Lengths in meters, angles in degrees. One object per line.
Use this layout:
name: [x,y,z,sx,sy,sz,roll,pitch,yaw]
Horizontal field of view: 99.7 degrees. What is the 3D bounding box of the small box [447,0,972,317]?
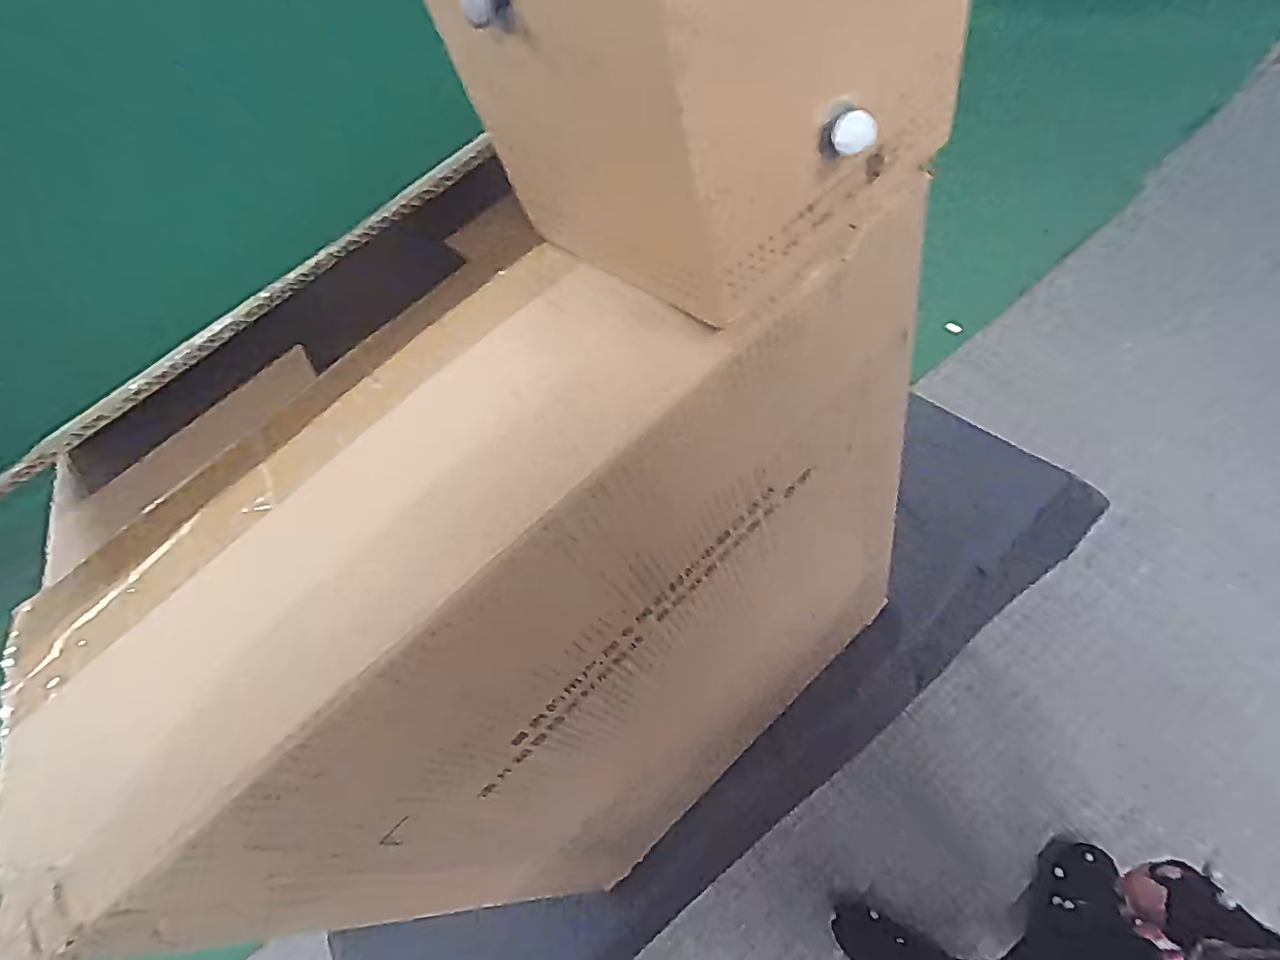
small box: [0.027,-0.207,0.252,0.168,0.176,0.179,-41,54,-10]
